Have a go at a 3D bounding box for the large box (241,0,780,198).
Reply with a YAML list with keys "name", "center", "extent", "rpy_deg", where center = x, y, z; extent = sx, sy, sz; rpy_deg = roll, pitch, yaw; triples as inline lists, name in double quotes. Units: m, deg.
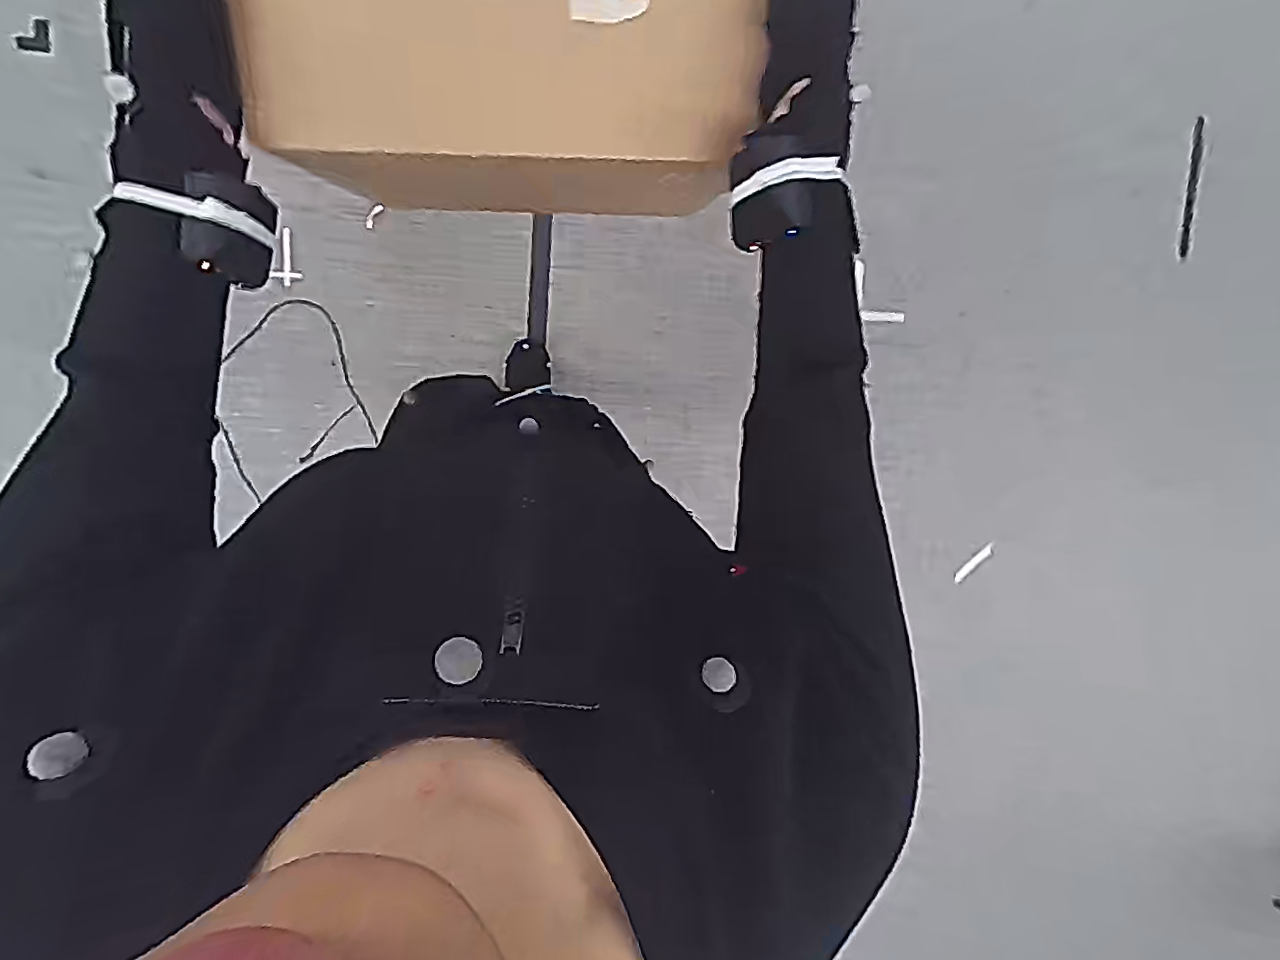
- name: "large box"
  center: [-0.107, -0.468, 0.520]
  extent: [0.408, 0.320, 0.320]
  rpy_deg: [-2, 110, -7]
